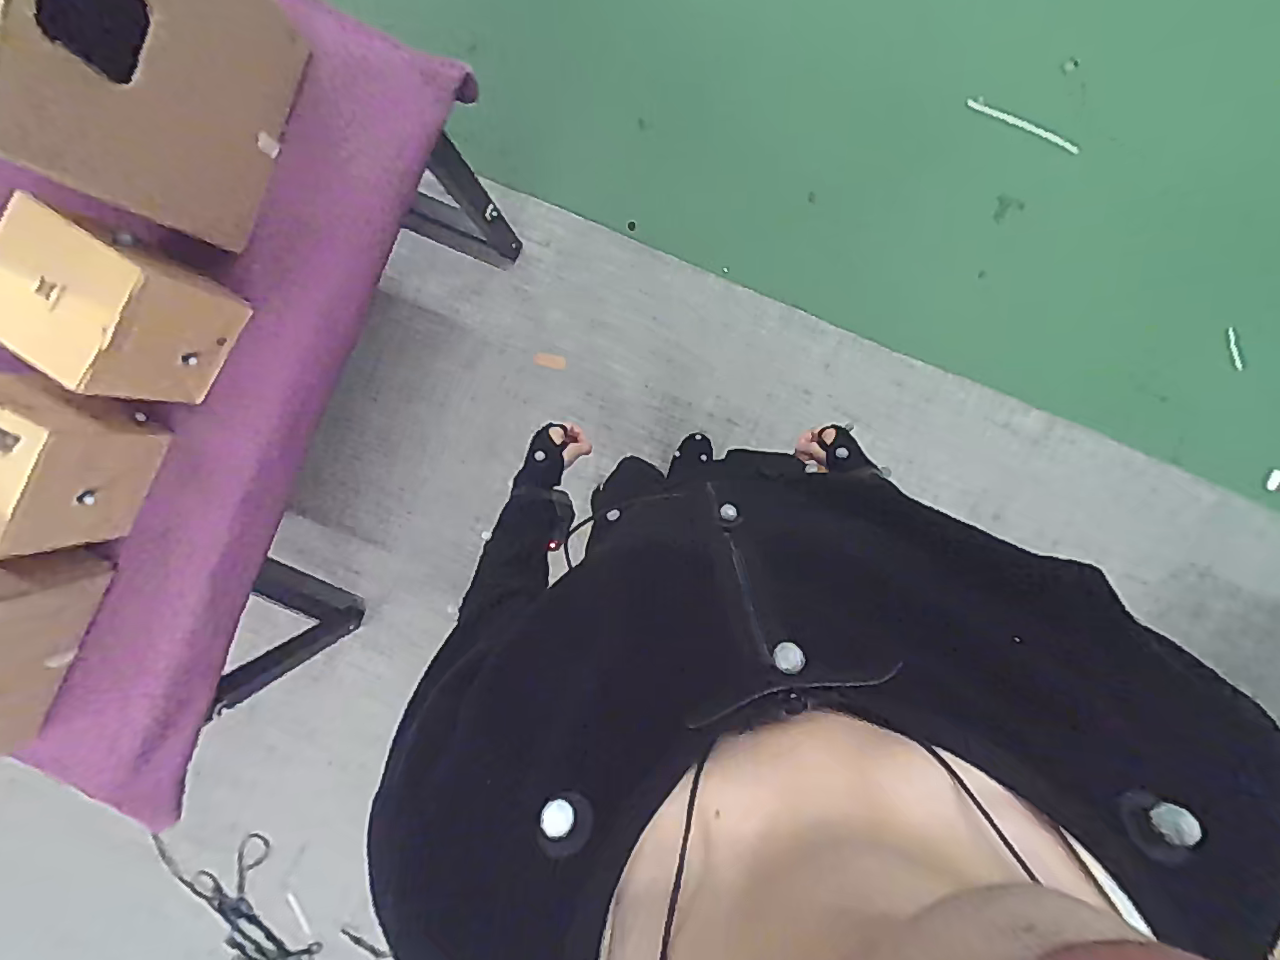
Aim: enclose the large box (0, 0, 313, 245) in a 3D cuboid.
[{"bbox_3d":[-0.691,-0.531,0.610,0.408,0.320,0.320,23,96,-1],"label":"large box"}]
